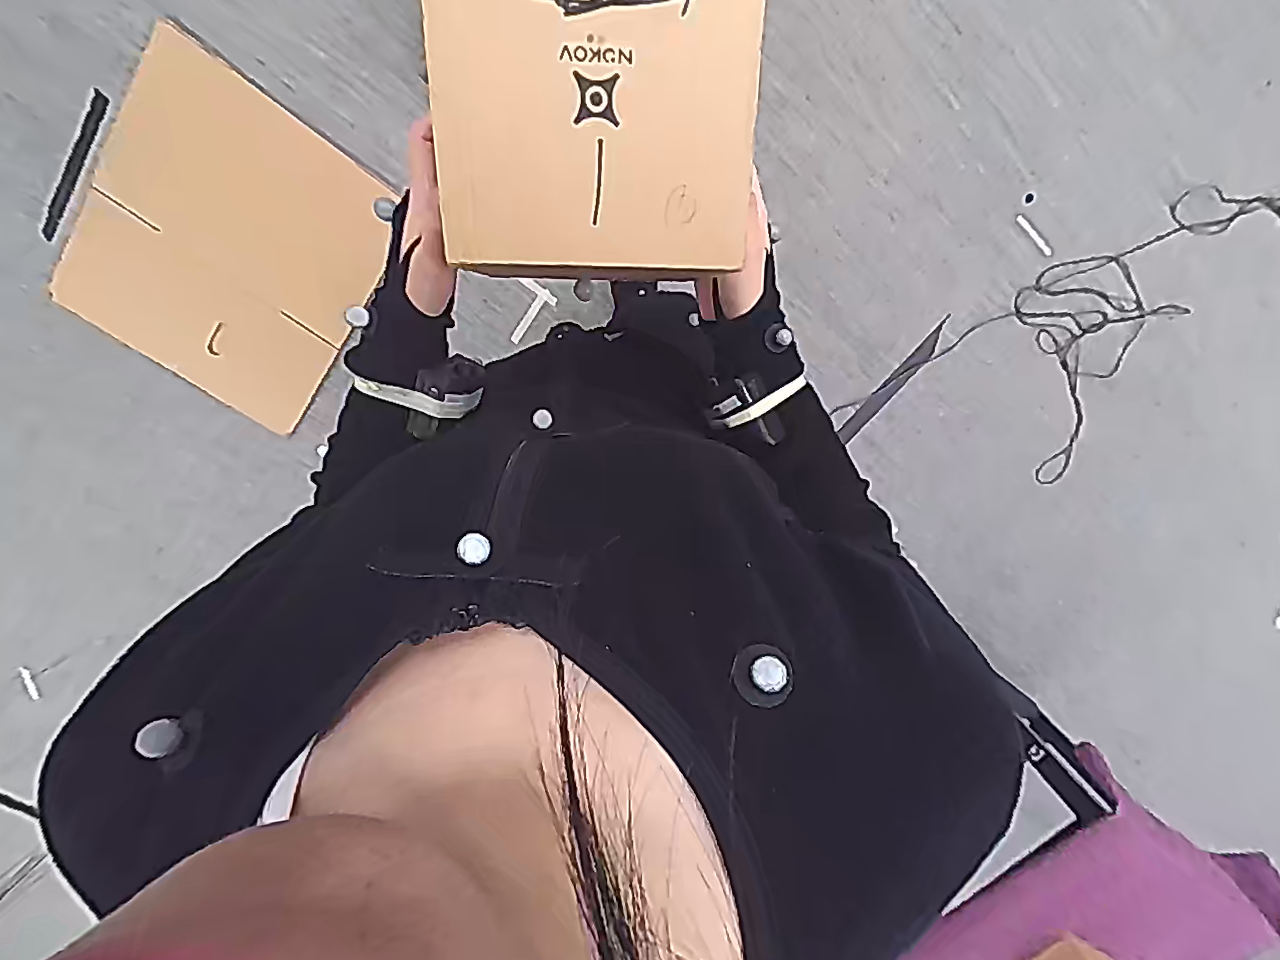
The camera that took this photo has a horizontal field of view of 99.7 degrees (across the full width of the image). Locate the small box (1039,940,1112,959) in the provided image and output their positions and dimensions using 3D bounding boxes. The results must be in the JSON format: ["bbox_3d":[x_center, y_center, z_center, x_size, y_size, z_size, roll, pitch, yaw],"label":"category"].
[{"bbox_3d":[0.929,1.088,1.097,0.179,0.176,0.168,36,104,-14],"label":"small box"}]

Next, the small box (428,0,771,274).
[{"bbox_3d":[-0.028,-0.229,0.339,0.168,0.176,0.179,-1,109,-6],"label":"small box"}]
